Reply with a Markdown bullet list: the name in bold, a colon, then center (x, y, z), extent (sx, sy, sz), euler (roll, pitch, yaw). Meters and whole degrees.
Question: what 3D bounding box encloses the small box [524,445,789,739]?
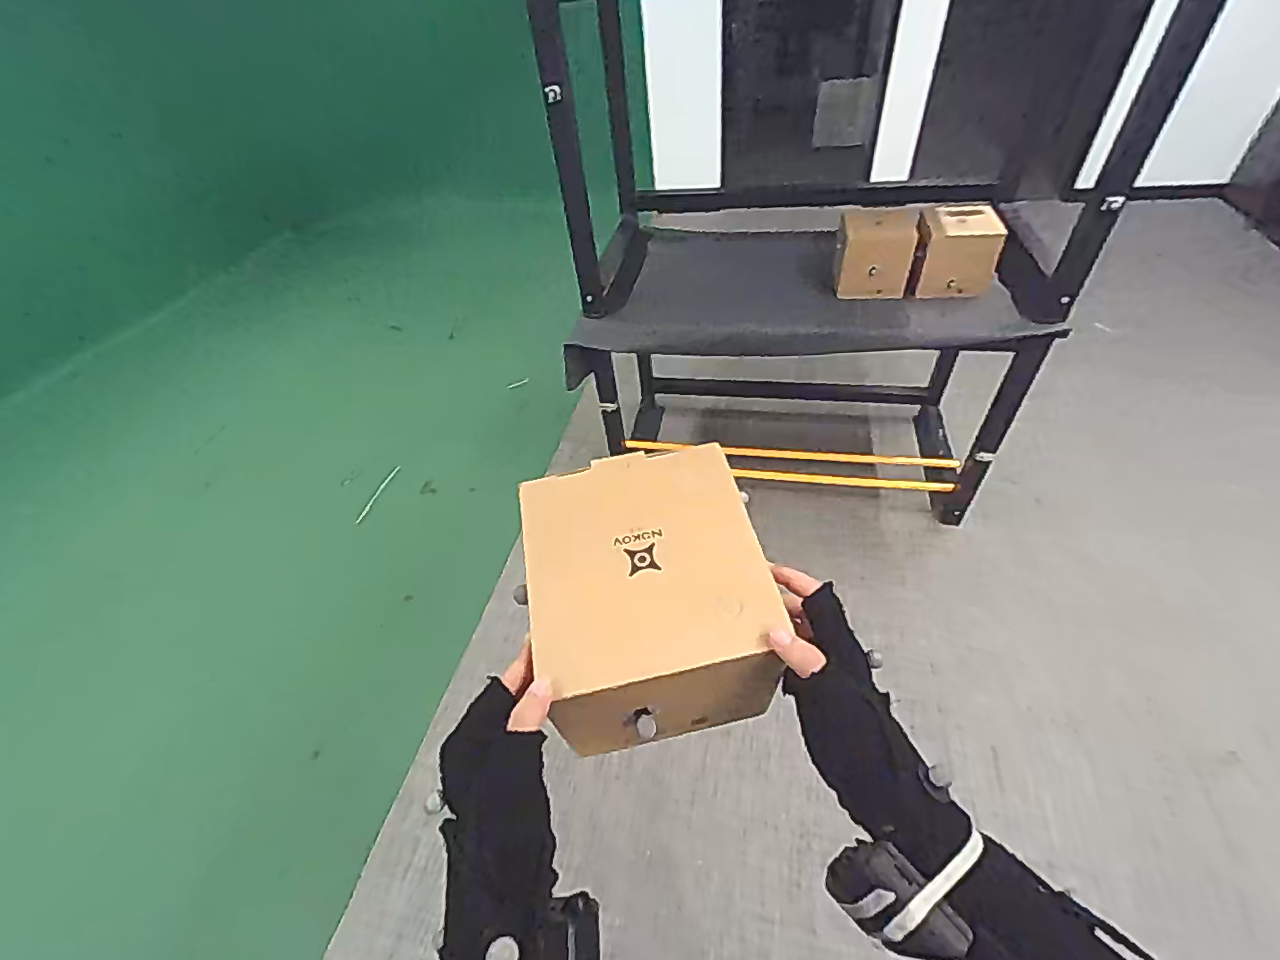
- **small box**: center (0.008, 0.101, 0.453), extent (0.168, 0.176, 0.179), euler (-11, 53, -4)
